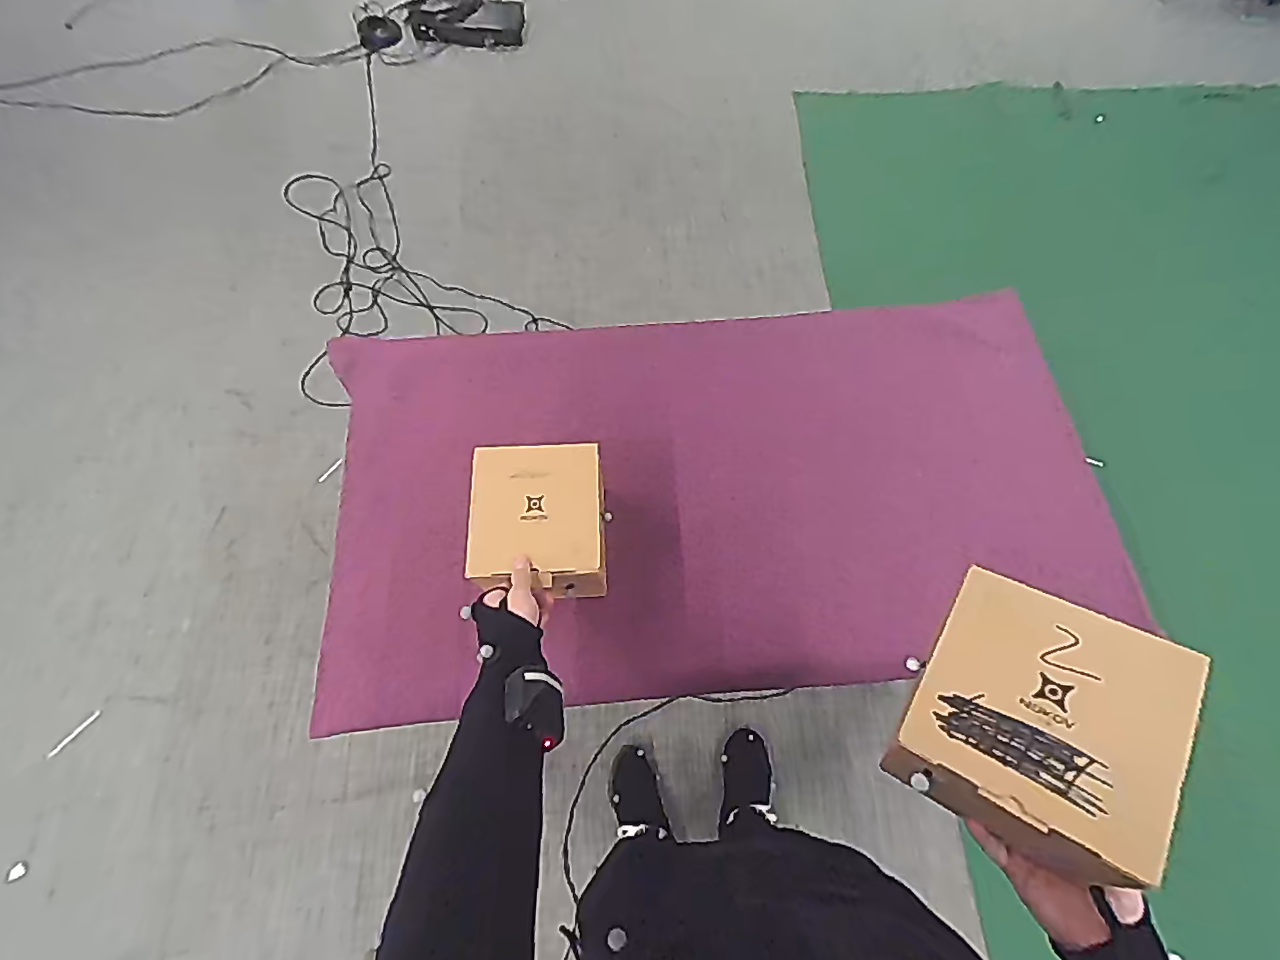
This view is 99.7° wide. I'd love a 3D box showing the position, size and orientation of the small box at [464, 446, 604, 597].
[{"bbox_3d":[-0.137,0.067,0.762,0.168,0.176,0.179,-1,67,-2],"label":"small box"}]
